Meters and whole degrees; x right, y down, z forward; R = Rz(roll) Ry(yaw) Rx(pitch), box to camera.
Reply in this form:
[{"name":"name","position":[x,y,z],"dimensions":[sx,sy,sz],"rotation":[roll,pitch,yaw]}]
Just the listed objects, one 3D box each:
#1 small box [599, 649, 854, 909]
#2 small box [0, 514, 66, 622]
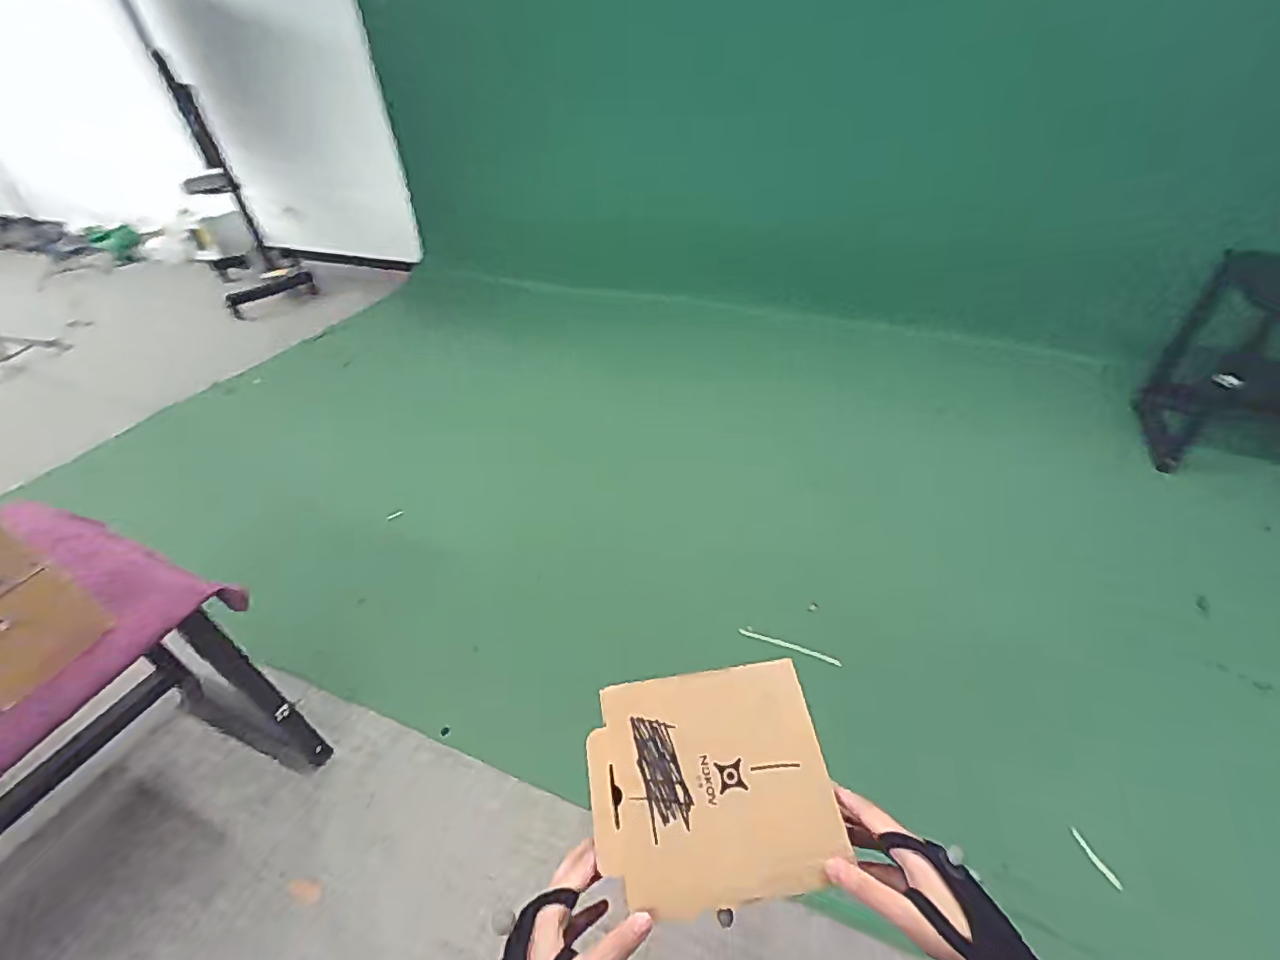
[{"name":"small box","position":[0.064,0.277,0.504],"dimensions":[0.179,0.176,0.168],"rotation":[-8,56,-6]},{"name":"small box","position":[-1.034,0.125,0.794],"dimensions":[0.179,0.176,0.168],"rotation":[13,45,19]}]
